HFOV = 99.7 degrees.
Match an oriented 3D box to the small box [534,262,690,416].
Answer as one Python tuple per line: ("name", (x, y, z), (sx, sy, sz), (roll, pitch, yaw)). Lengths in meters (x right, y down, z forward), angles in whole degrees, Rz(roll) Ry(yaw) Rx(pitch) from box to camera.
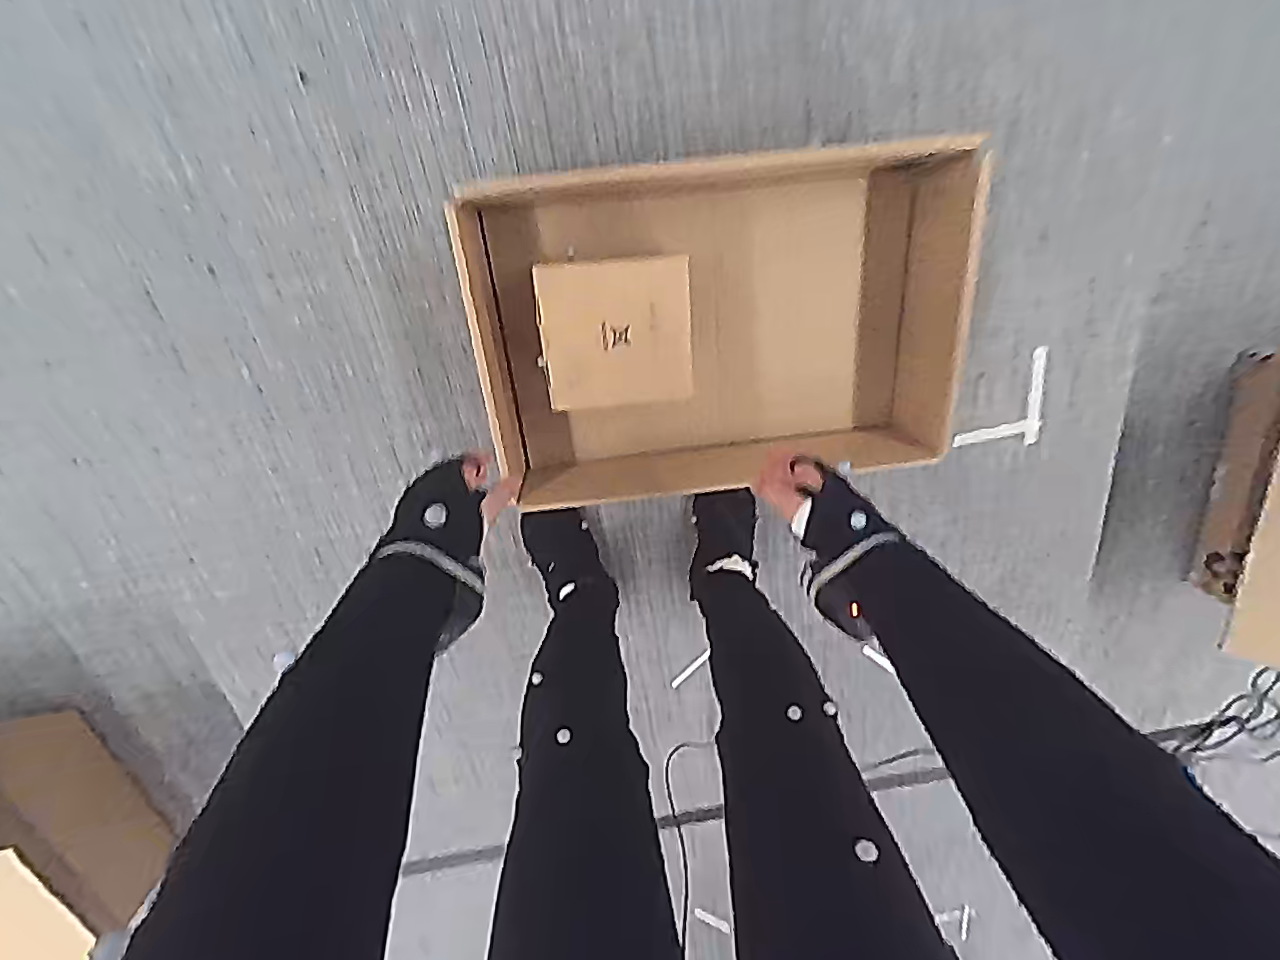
("small box", (-0.036, -0.193, 0.716), (0.179, 0.176, 0.168), (-7, 115, -4))
